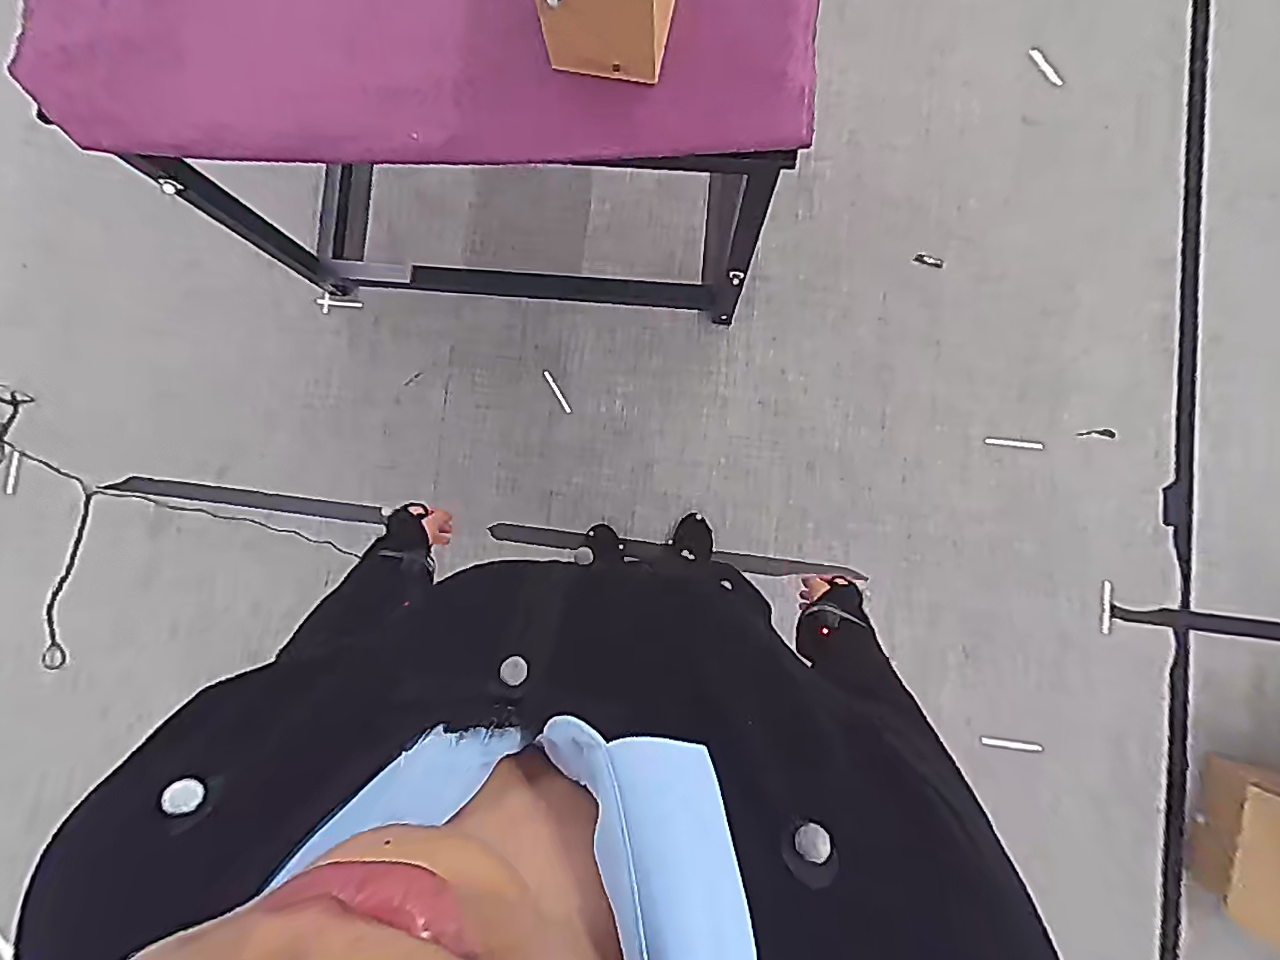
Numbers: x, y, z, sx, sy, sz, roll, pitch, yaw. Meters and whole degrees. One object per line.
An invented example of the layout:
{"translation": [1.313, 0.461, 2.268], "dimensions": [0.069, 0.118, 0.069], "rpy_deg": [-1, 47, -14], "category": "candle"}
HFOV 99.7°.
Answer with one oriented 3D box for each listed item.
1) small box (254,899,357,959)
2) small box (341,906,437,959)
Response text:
{"translation": [-0.836, 1.202, 1.344], "dimensions": [0.168, 0.176, 0.179], "rpy_deg": [10, 86, 2], "category": "small box"}
{"translation": [-0.618, 1.201, 1.333], "dimensions": [0.168, 0.176, 0.179], "rpy_deg": [3, 86, 4], "category": "small box"}
